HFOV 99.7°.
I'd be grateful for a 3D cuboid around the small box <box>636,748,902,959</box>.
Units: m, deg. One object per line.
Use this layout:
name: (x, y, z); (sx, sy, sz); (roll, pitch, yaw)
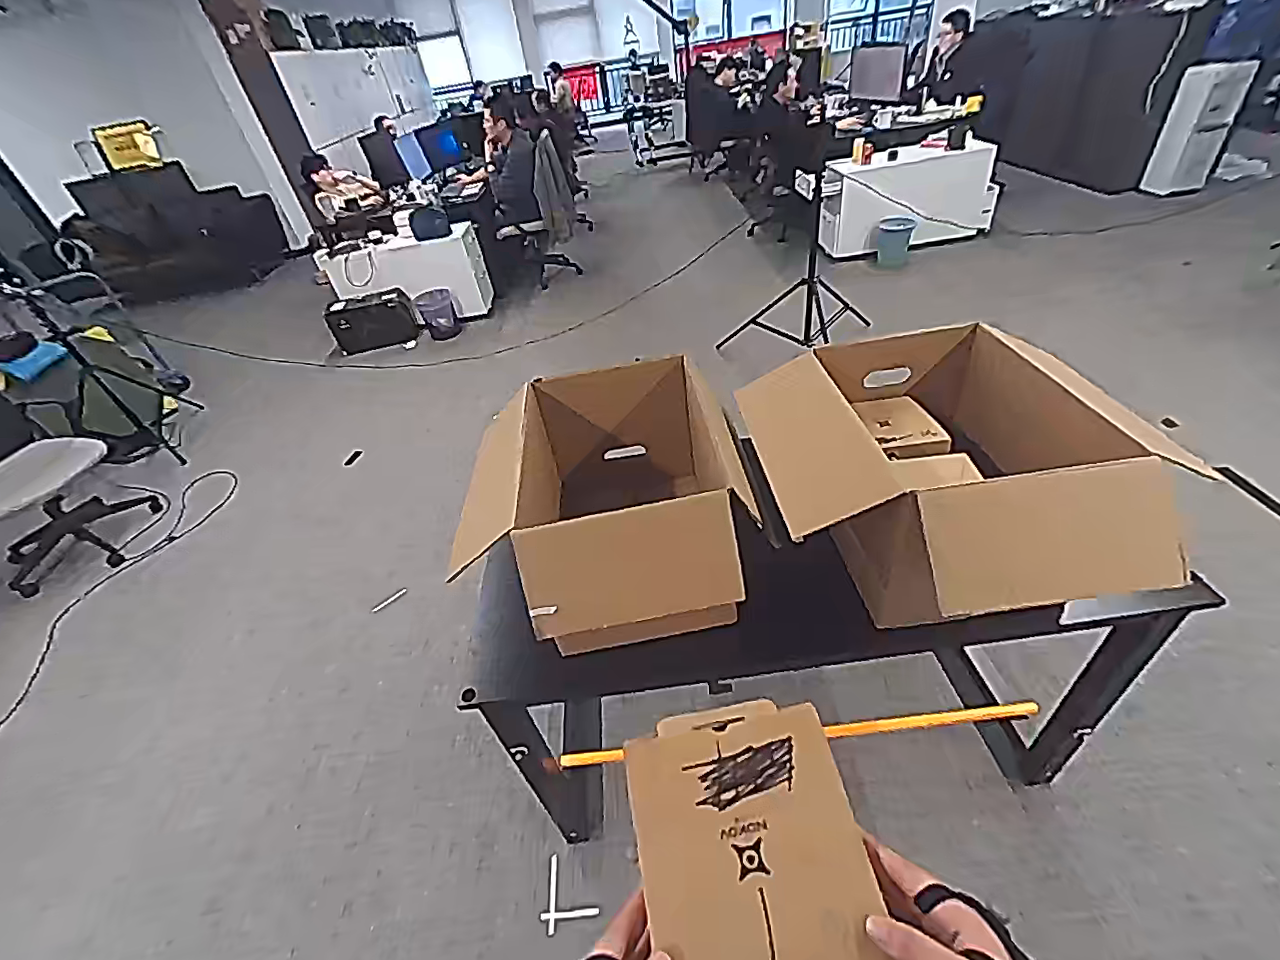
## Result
small box: (0.093, 0.347, 0.449); (0.168, 0.176, 0.179); (-11, 53, -2)
